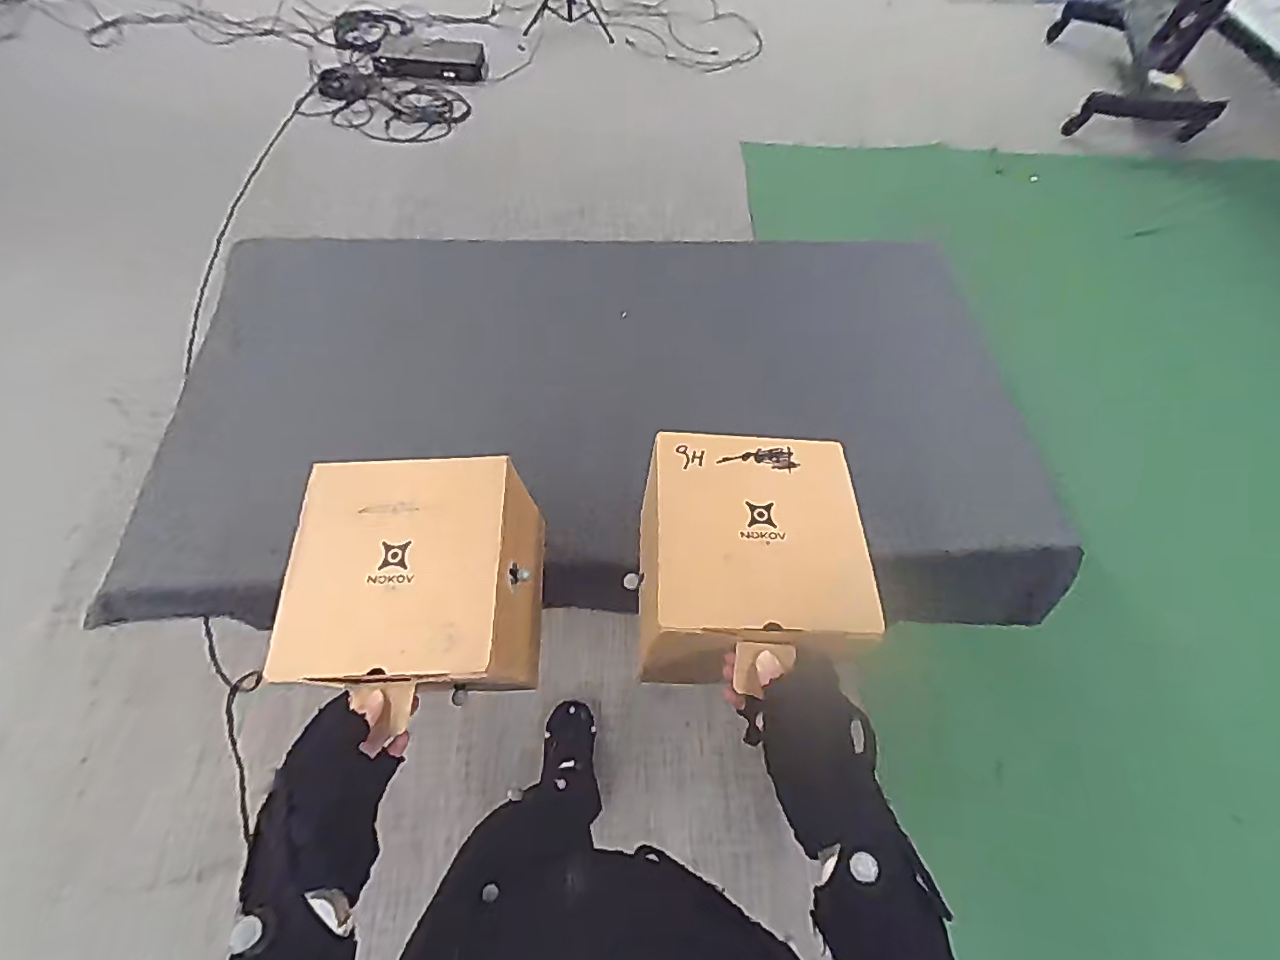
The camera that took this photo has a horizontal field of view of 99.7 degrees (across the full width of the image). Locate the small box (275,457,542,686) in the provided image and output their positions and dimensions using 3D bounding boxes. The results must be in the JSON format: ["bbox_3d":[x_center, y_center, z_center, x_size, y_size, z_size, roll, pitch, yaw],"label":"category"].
[{"bbox_3d":[-0.190,0.096,0.504,0.168,0.176,0.179,-3,65,1],"label":"small box"}]
